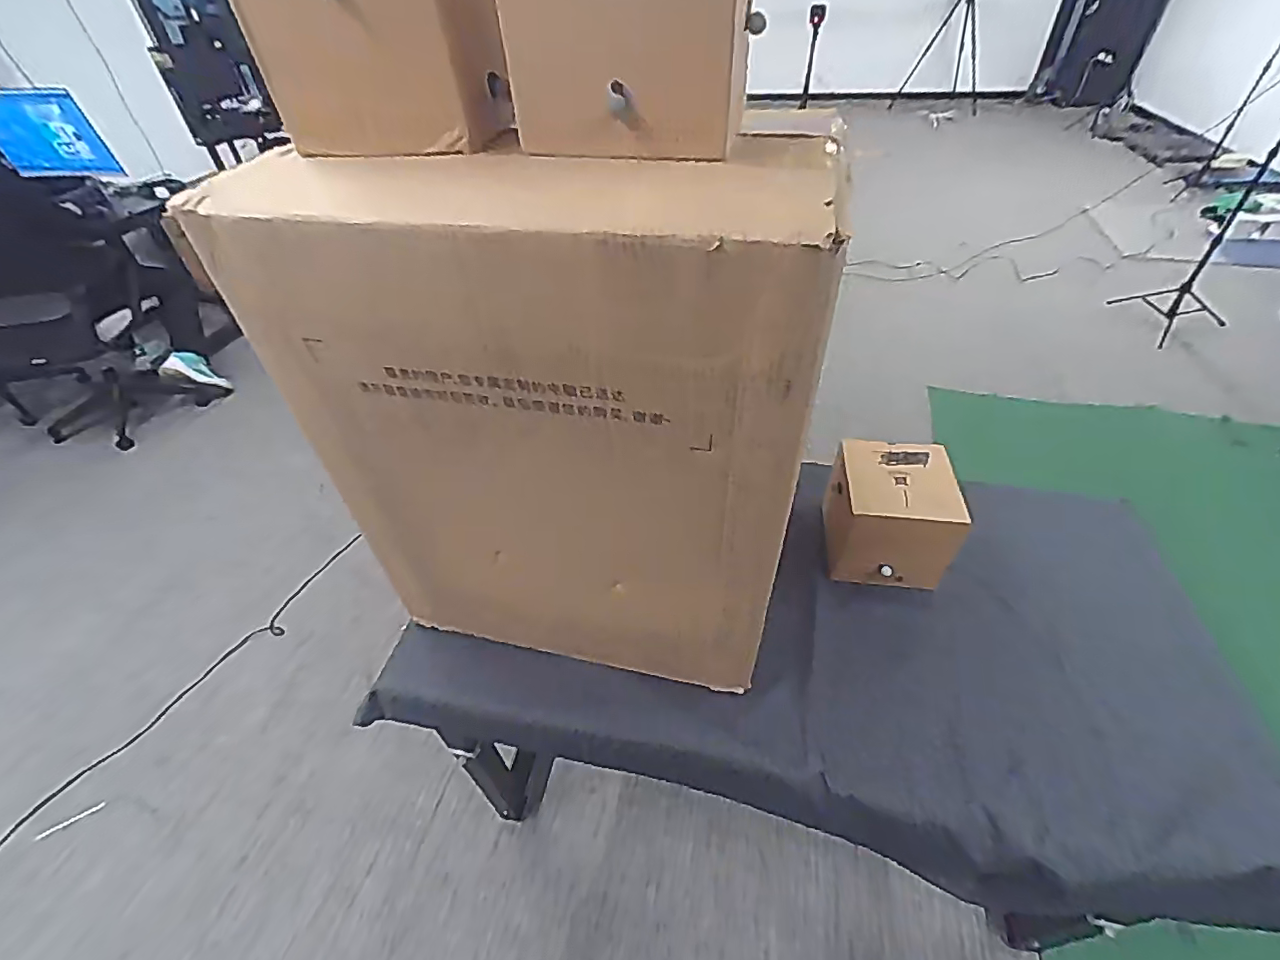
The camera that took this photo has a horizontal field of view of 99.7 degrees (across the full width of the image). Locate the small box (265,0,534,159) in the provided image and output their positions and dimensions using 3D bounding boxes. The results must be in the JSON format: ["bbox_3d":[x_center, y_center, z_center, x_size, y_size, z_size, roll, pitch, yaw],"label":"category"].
[{"bbox_3d":[-0.206,-0.406,0.488,0.179,0.176,0.168,6,48,9],"label":"small box"}]

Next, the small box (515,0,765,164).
[{"bbox_3d":[0.011,-0.377,0.448,0.179,0.176,0.168,8,46,10],"label":"small box"}]
